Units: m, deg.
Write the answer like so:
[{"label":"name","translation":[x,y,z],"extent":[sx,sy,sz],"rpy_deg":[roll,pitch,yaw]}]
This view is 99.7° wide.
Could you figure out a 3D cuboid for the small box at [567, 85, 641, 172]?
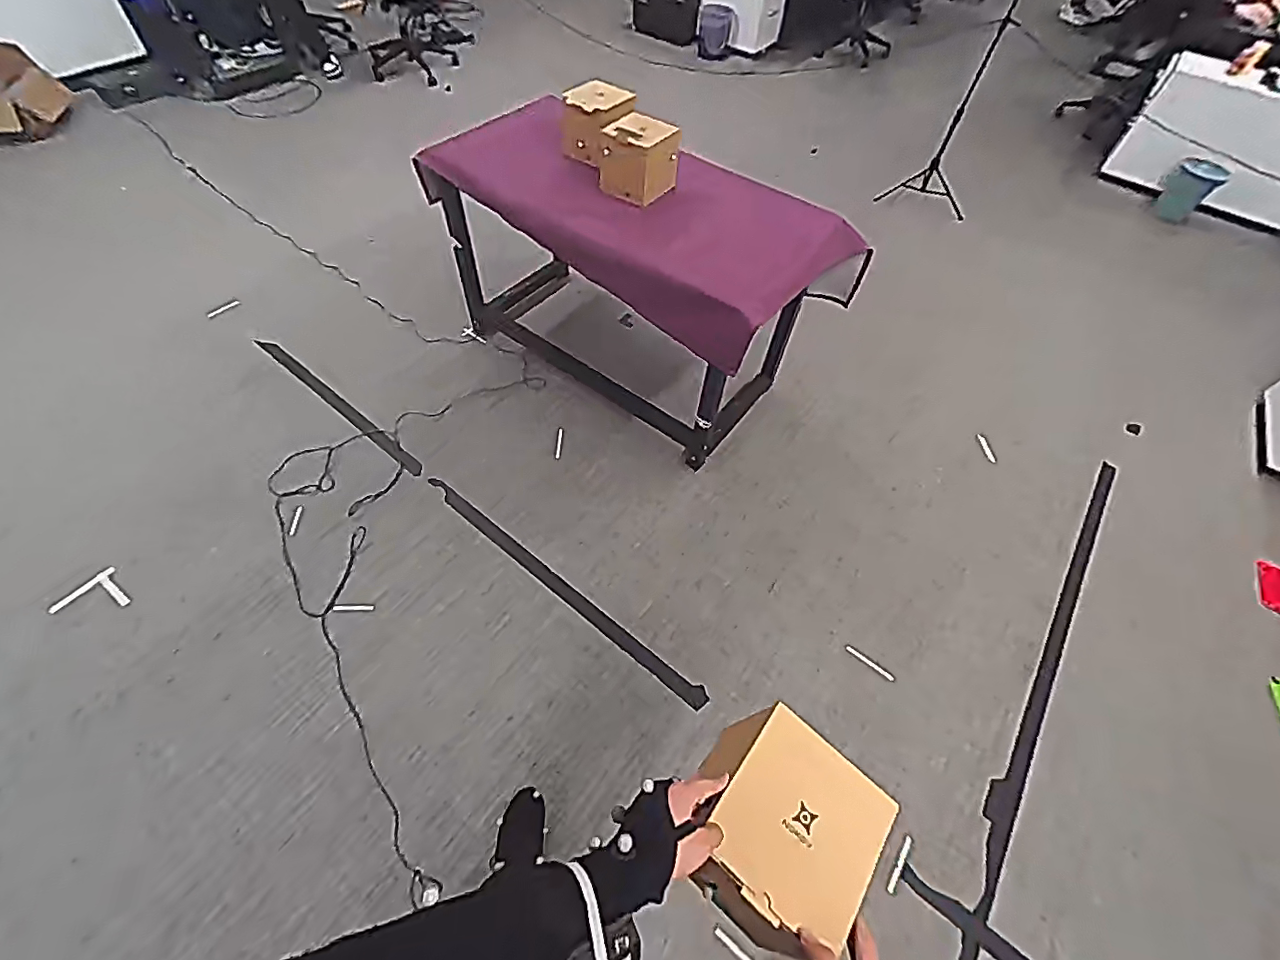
[{"label":"small box","translation":[-0.118,-1.126,1.734],"extent":[0.168,0.176,0.179],"rpy_deg":[32,59,18]}]

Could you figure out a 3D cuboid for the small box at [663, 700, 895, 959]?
[{"label":"small box","translation":[0.149,0.393,0.625],"extent":[0.168,0.176,0.179],"rpy_deg":[39,56,12]}]
